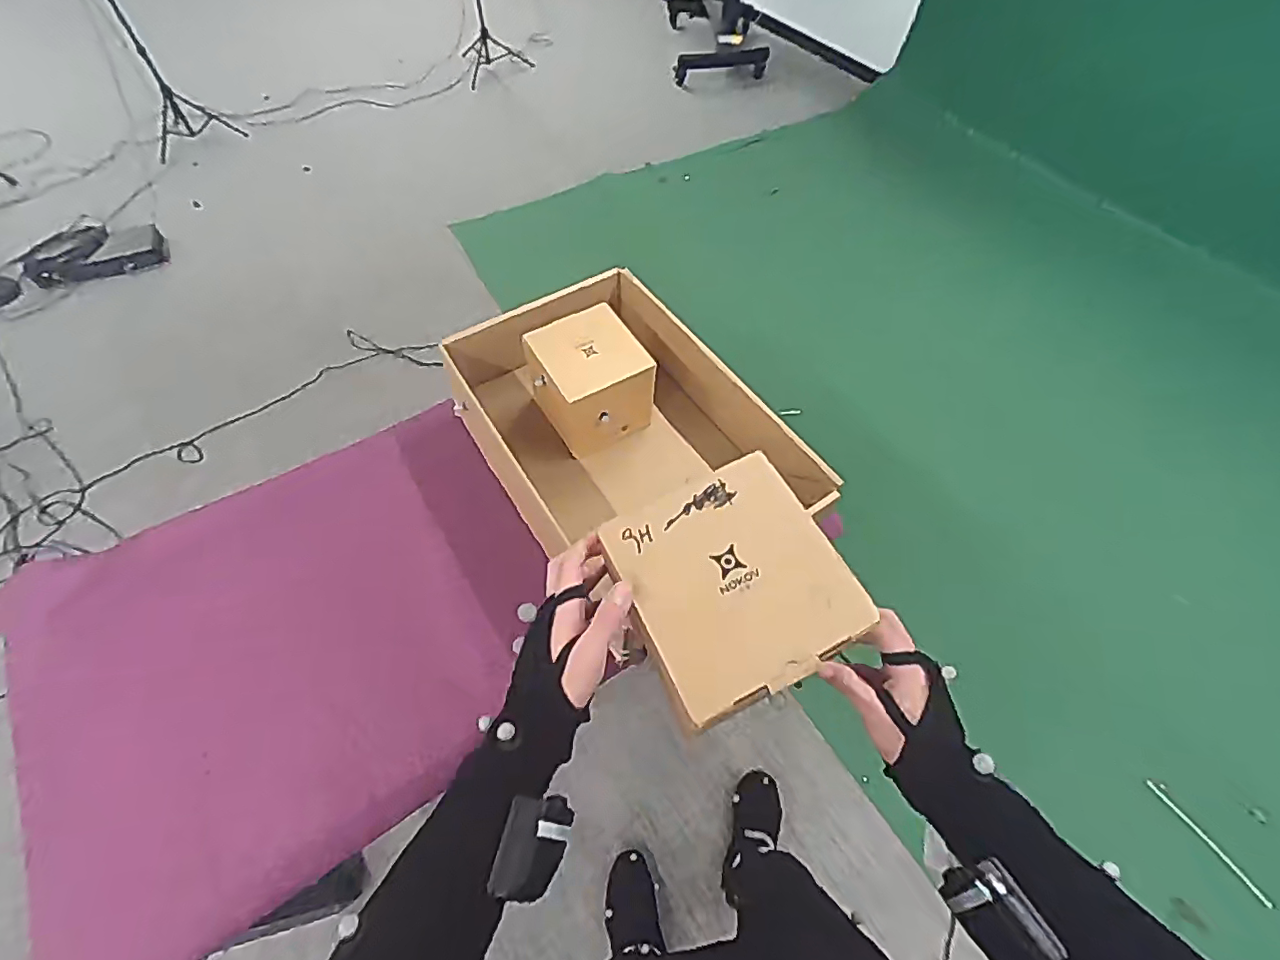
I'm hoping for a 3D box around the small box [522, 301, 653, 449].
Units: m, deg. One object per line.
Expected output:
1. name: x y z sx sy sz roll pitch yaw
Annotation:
1. small box: -0.089 -0.178 0.970 0.168 0.176 0.179 -28 64 -16
